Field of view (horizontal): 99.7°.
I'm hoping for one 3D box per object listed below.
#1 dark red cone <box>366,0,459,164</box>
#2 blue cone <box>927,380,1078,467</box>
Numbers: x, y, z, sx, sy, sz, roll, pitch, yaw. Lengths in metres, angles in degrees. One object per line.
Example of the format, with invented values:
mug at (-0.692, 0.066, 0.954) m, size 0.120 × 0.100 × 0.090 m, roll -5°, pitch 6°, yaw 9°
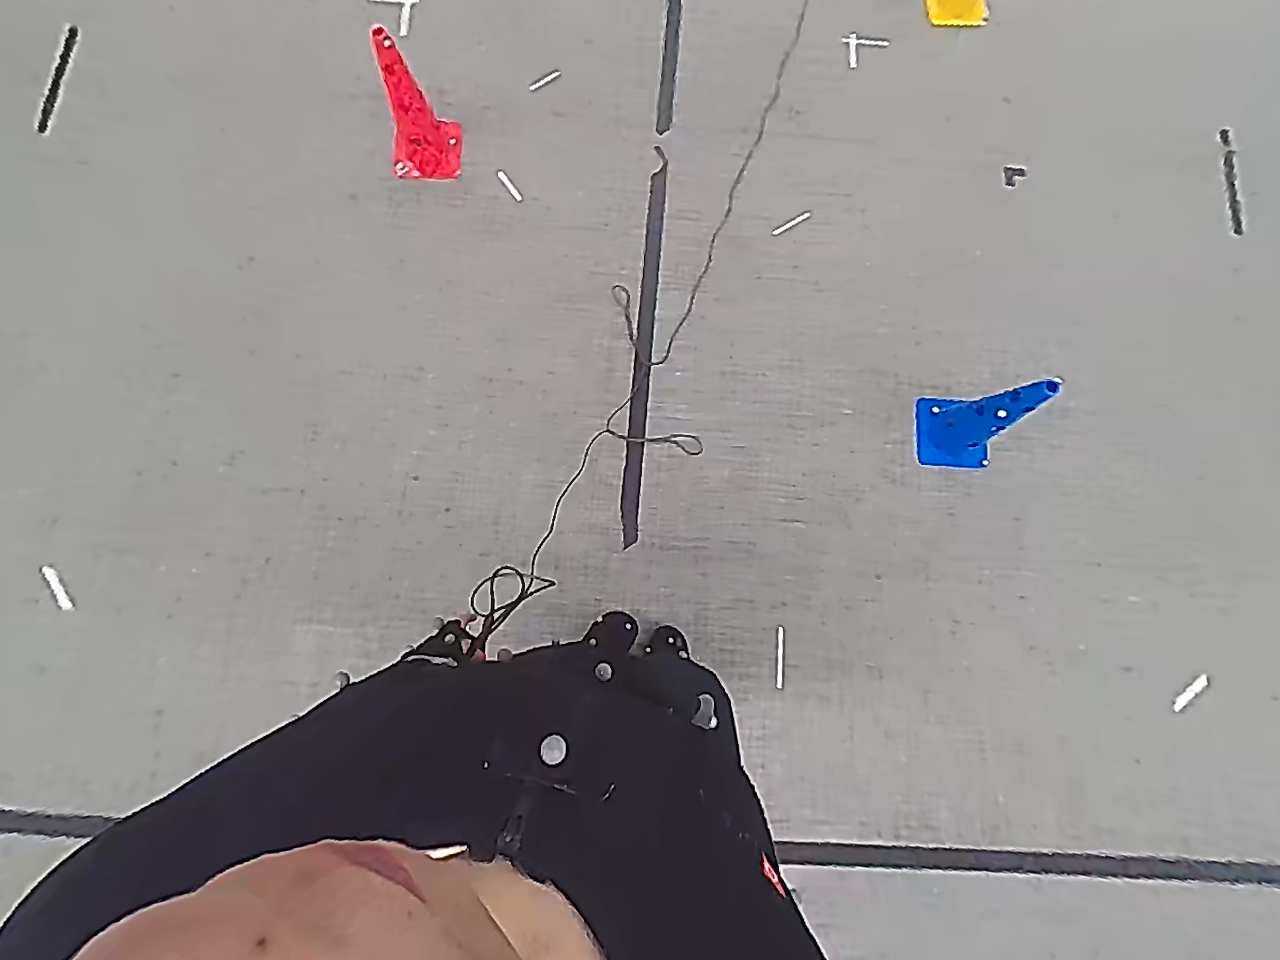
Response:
dark red cone at (-0.622, -1.043, 1.423) m, size 0.201 × 0.394 × 0.202 m, roll -2°, pitch 78°, yaw -4°
blue cone at (0.900, -0.163, 1.339) m, size 0.192 × 0.380 × 0.193 m, roll 6°, pitch 78°, yaw -3°
